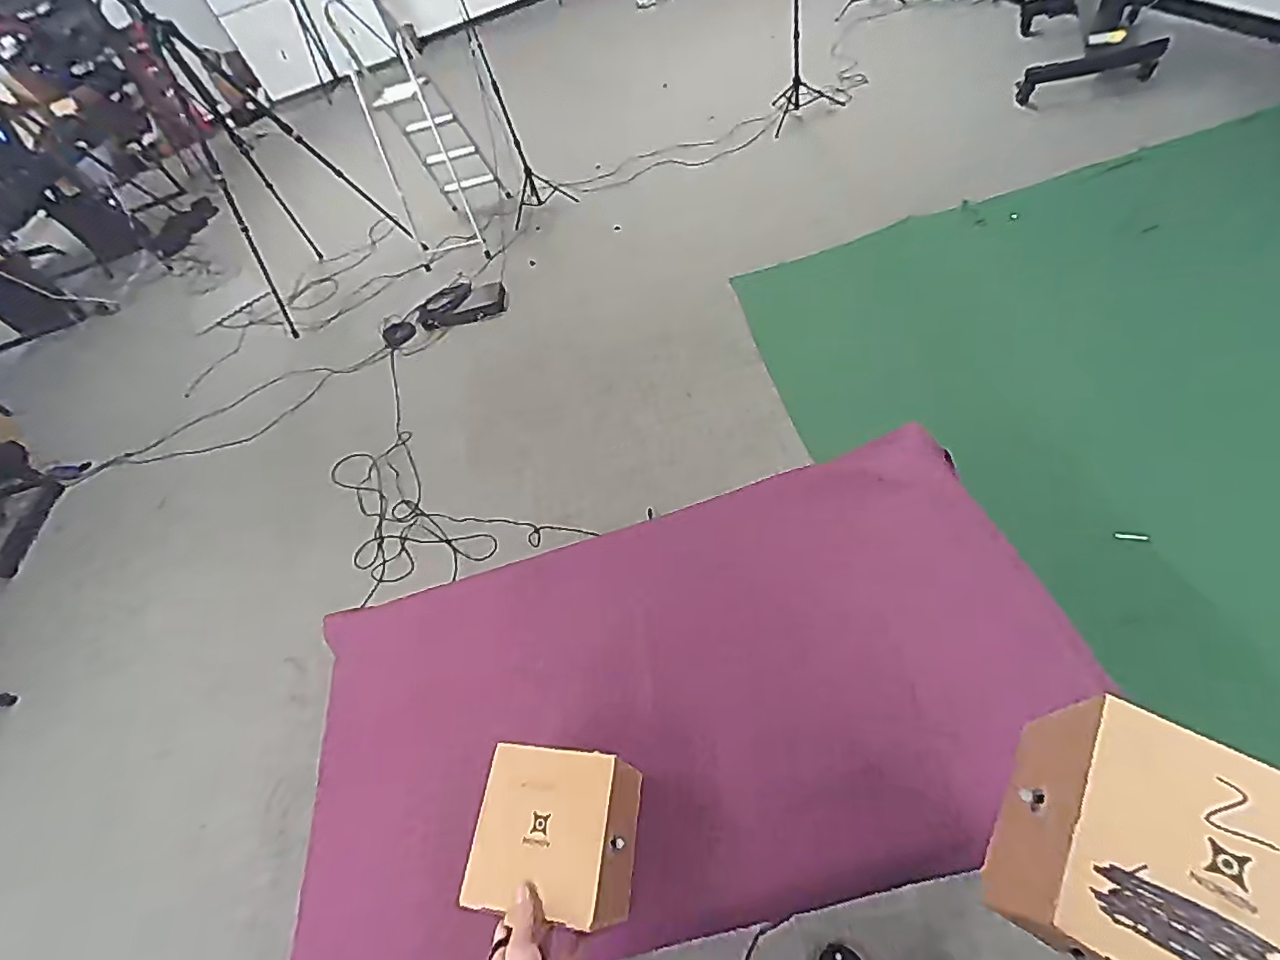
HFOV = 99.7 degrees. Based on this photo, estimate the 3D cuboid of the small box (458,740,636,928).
[{"bbox_3d":[-0.108,0.463,0.719,0.168,0.176,0.179,0,55,14],"label":"small box"}]
